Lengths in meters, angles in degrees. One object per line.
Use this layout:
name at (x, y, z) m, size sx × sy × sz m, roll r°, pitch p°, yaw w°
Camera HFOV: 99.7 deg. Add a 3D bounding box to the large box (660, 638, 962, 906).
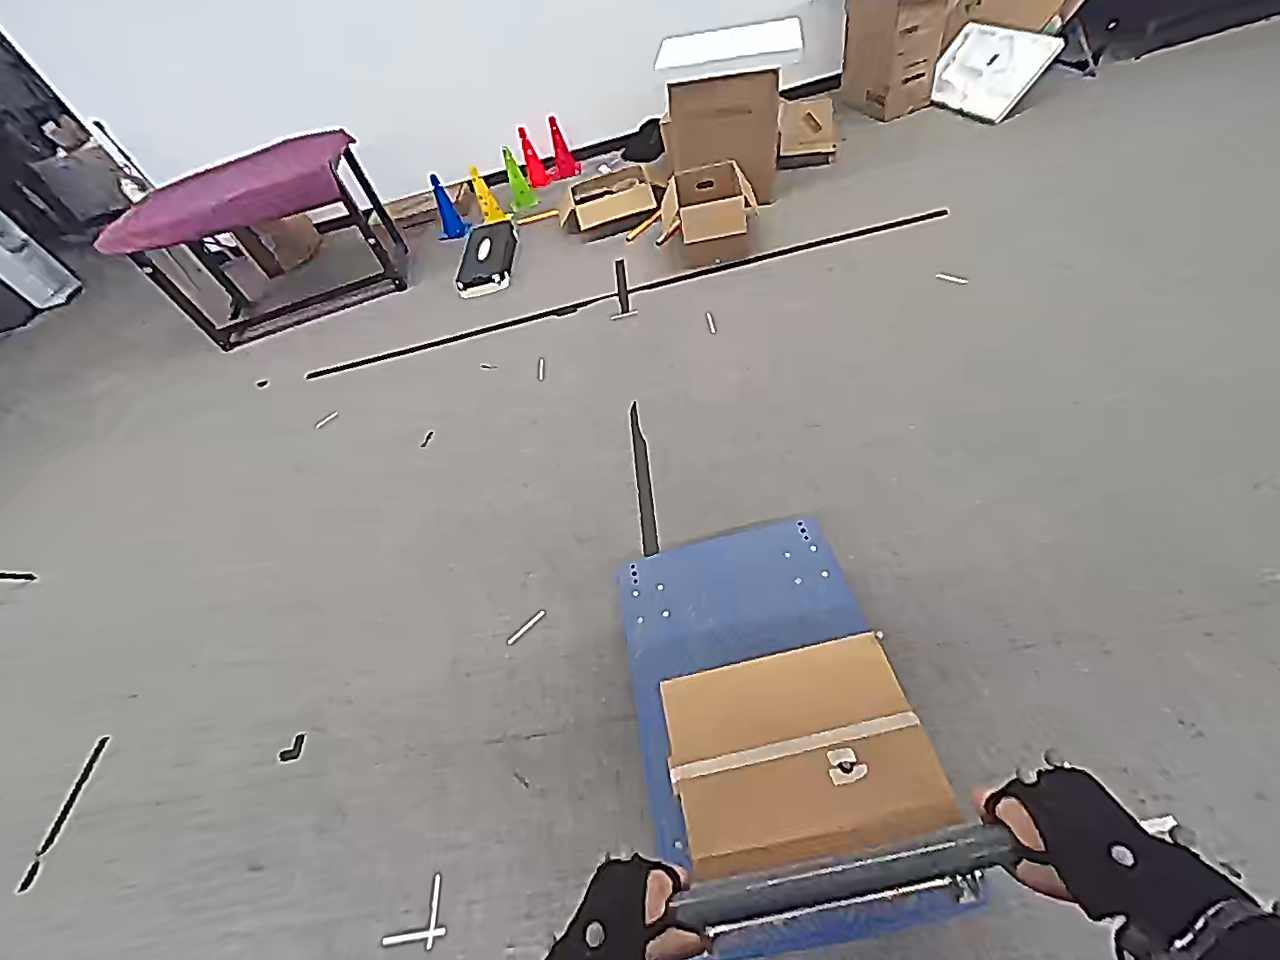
large box at (0.279, 0.541, 0.994) m, size 0.408 × 0.320 × 0.320 m, roll -14°, pitch 49°, yaw 2°
